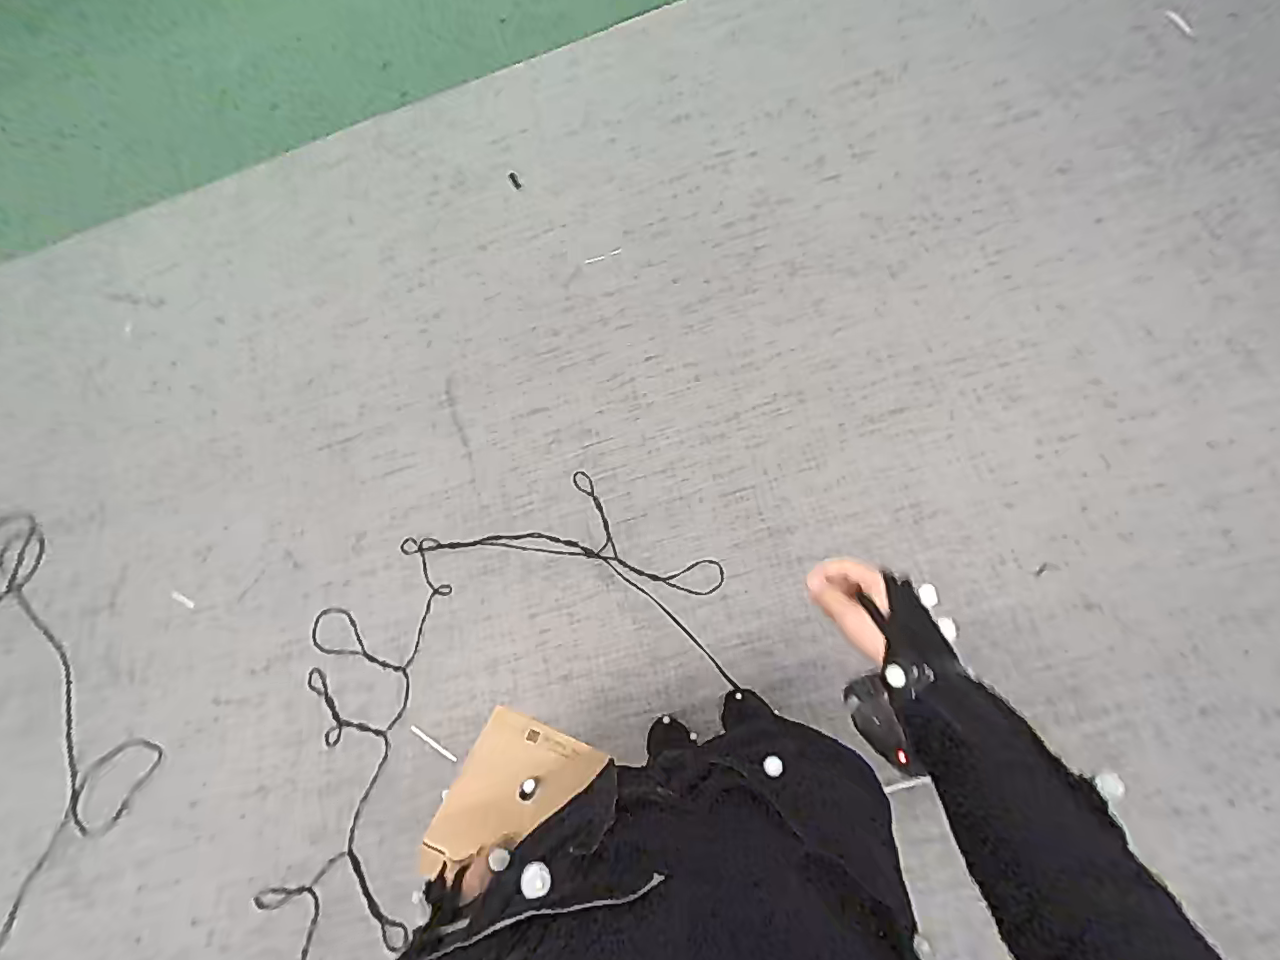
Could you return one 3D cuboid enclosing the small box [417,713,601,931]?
[{"bbox_3d":[-0.162,0.432,0.693,0.168,0.179,0.176,24,41,2],"label":"small box"}]
